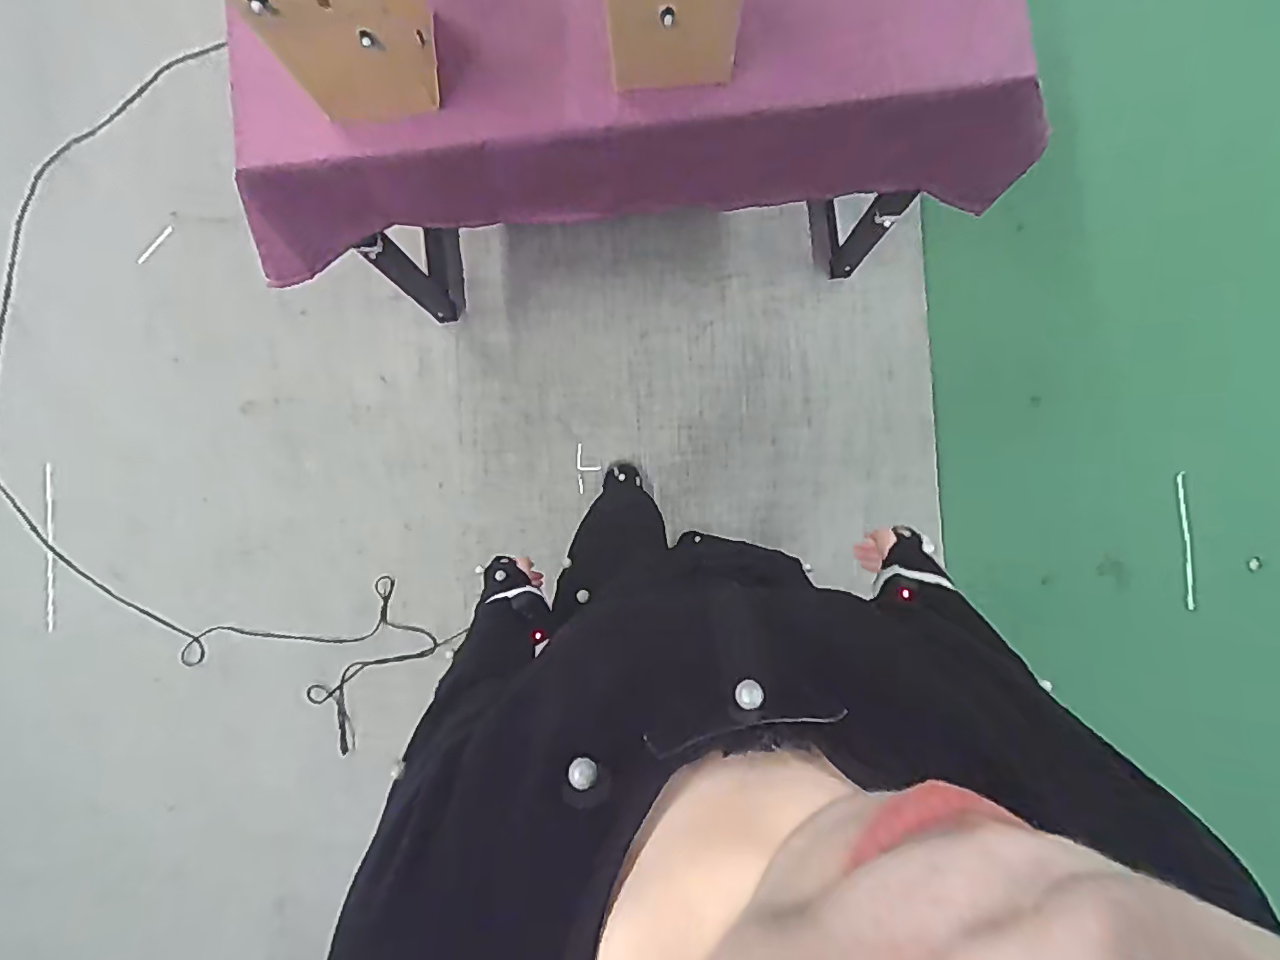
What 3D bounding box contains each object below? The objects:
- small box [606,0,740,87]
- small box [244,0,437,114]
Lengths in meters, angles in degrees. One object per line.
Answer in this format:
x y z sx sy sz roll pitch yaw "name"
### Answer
0.041 -0.672 0.732 0.179 0.176 0.168 -4 88 1 "small box"
-0.398 -0.637 0.738 0.179 0.176 0.168 -6 87 -1 "small box"
